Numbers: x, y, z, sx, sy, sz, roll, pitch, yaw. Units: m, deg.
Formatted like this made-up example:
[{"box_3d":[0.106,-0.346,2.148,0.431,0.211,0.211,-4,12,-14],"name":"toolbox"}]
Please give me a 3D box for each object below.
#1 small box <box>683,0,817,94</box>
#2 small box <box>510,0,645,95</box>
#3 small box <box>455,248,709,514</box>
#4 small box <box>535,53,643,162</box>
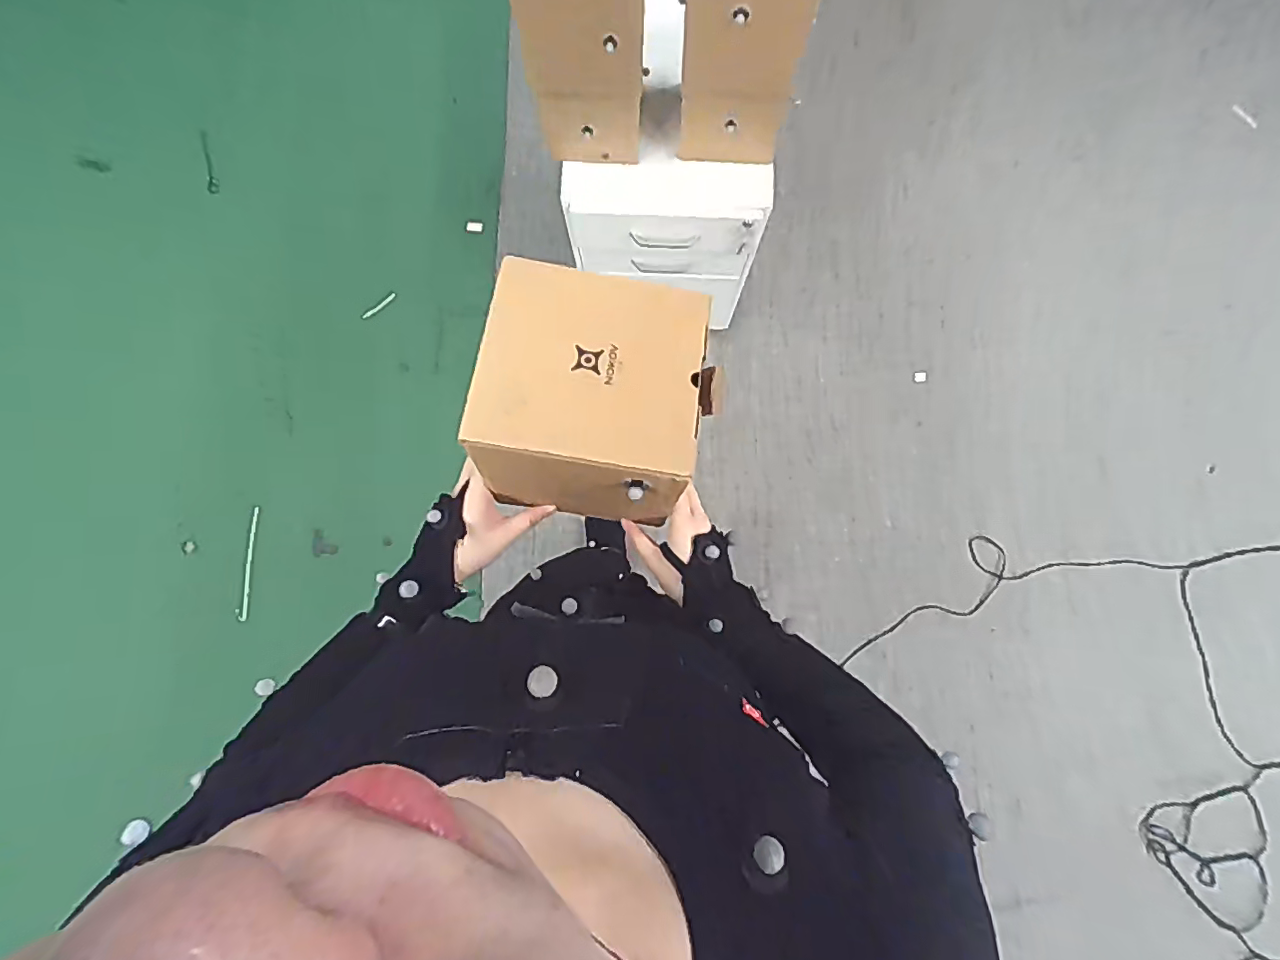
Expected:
[{"box_3d":[0.155,-0.692,0.772,0.179,0.176,0.168,4,82,2],"name":"small box"},{"box_3d":[-0.080,-0.692,0.774,0.179,0.176,0.168,2,81,0],"name":"small box"},{"box_3d":[-0.048,-0.075,0.494,0.179,0.176,0.168,9,72,-5],"name":"small box"},{"box_3d":[-0.081,-0.686,0.937,0.168,0.176,0.179,3,83,-1],"name":"small box"}]
